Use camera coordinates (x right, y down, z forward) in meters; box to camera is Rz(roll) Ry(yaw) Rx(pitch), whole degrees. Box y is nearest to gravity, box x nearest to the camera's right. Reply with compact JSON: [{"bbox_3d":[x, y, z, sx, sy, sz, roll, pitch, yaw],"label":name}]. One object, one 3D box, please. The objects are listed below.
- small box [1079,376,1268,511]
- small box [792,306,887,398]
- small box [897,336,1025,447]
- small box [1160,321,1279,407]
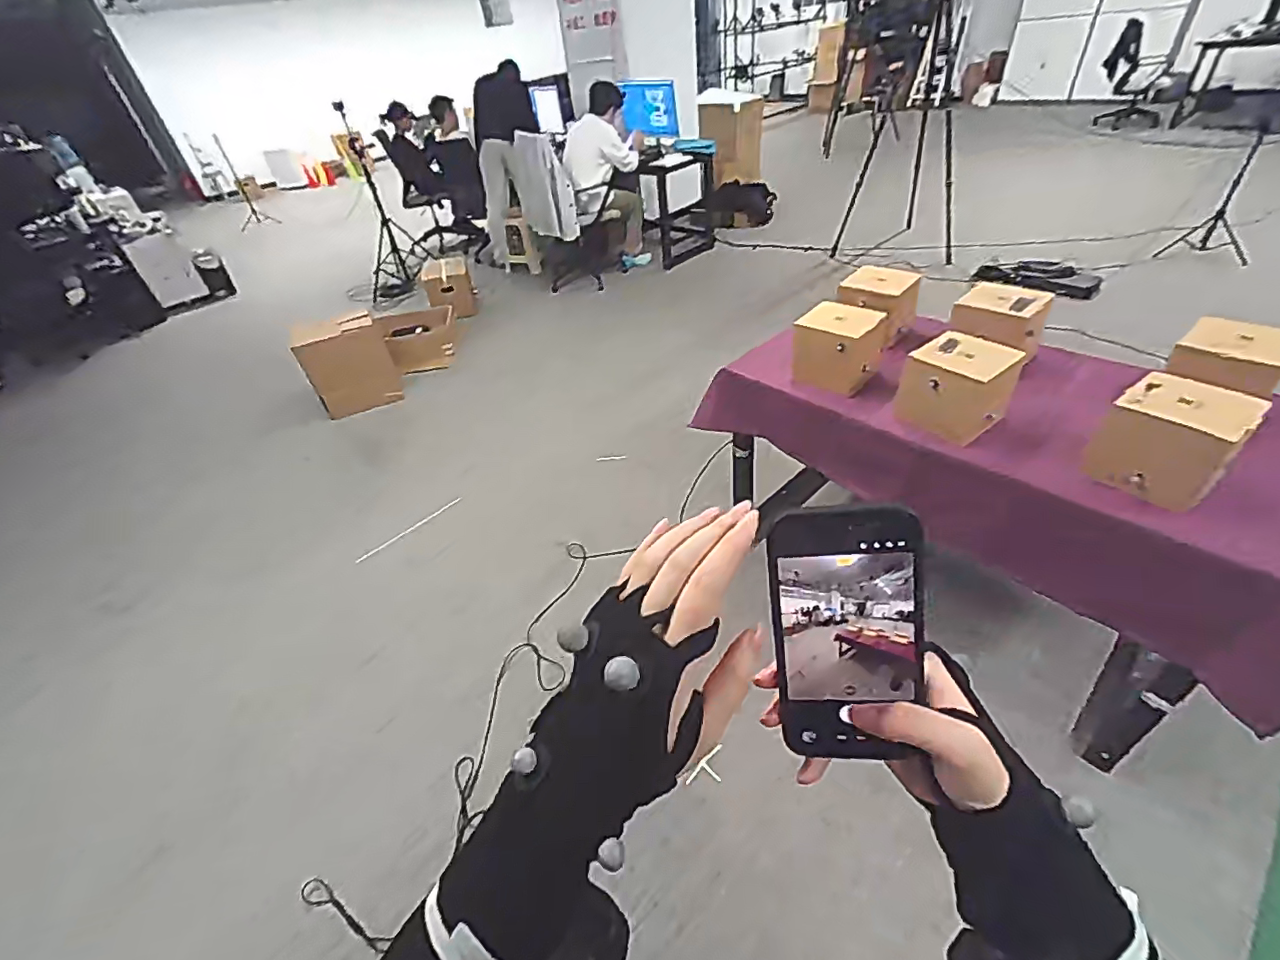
[{"bbox_3d":[0.990,-0.065,1.019,0.168,0.176,0.179,-28,44,-23],"label":"small box"},{"bbox_3d":[0.520,-0.339,1.432,0.179,0.176,0.168,27,51,33],"label":"small box"},{"bbox_3d":[0.719,-0.202,1.232,0.168,0.176,0.179,-29,45,-23],"label":"small box"},{"bbox_3d":[1.232,-0.212,1.154,0.179,0.176,0.168,-31,44,-25],"label":"small box"}]
